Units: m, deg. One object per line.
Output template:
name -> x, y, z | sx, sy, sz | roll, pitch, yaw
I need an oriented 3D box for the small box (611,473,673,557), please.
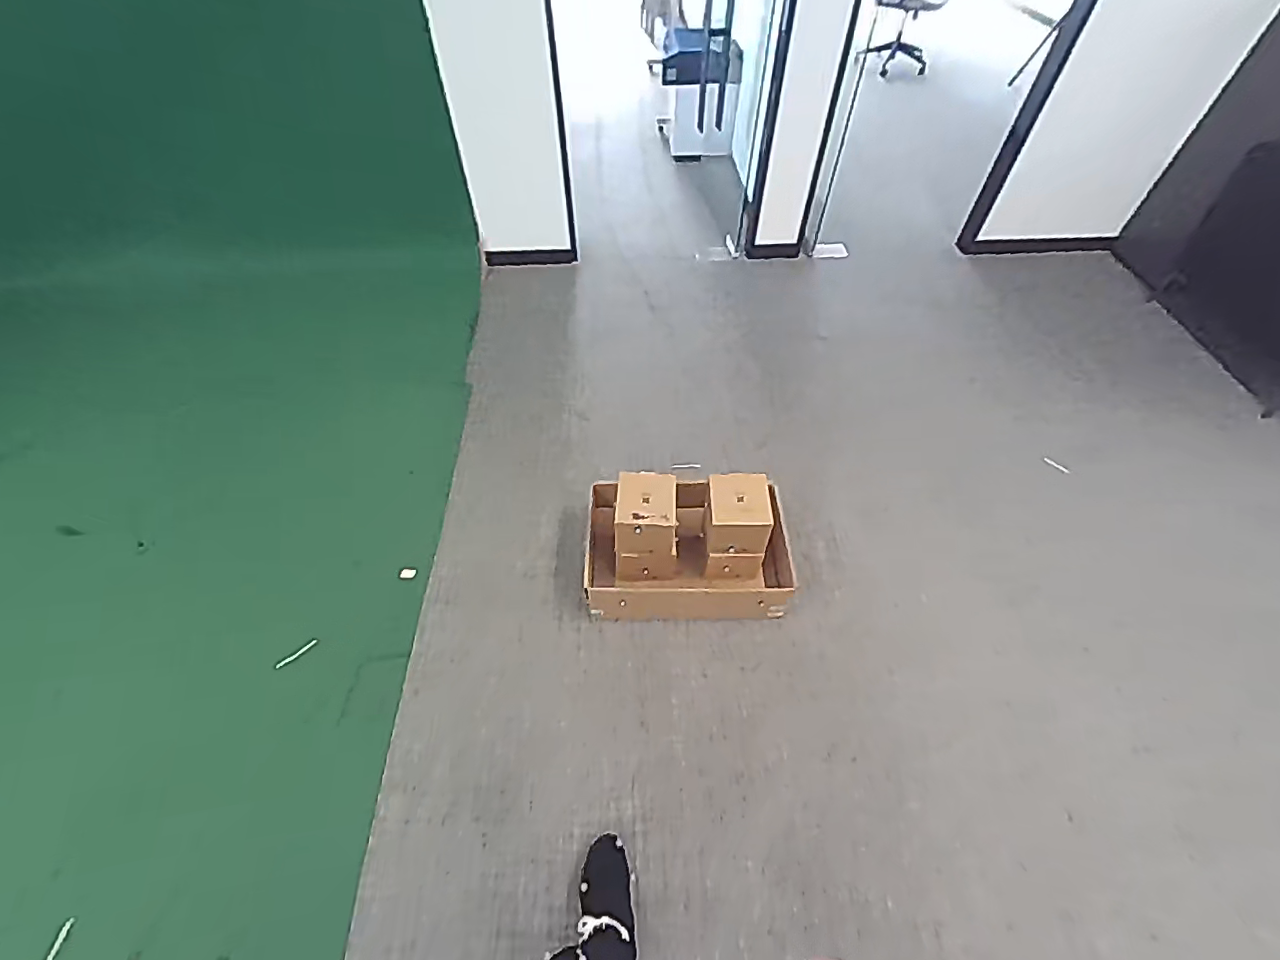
small box -> 0.005, 0.103, 1.571 | 0.168, 0.176, 0.179 | 3, 52, 1

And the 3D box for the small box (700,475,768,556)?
small box -> 0.267, 0.103, 1.581 | 0.168, 0.176, 0.179 | 0, 53, 1

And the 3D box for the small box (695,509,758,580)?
small box -> 0.268, 0.205, 1.709 | 0.168, 0.176, 0.179 | -1, 53, -1

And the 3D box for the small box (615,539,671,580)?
small box -> 0.006, 0.205, 1.701 | 0.168, 0.176, 0.179 | 0, 53, -3
